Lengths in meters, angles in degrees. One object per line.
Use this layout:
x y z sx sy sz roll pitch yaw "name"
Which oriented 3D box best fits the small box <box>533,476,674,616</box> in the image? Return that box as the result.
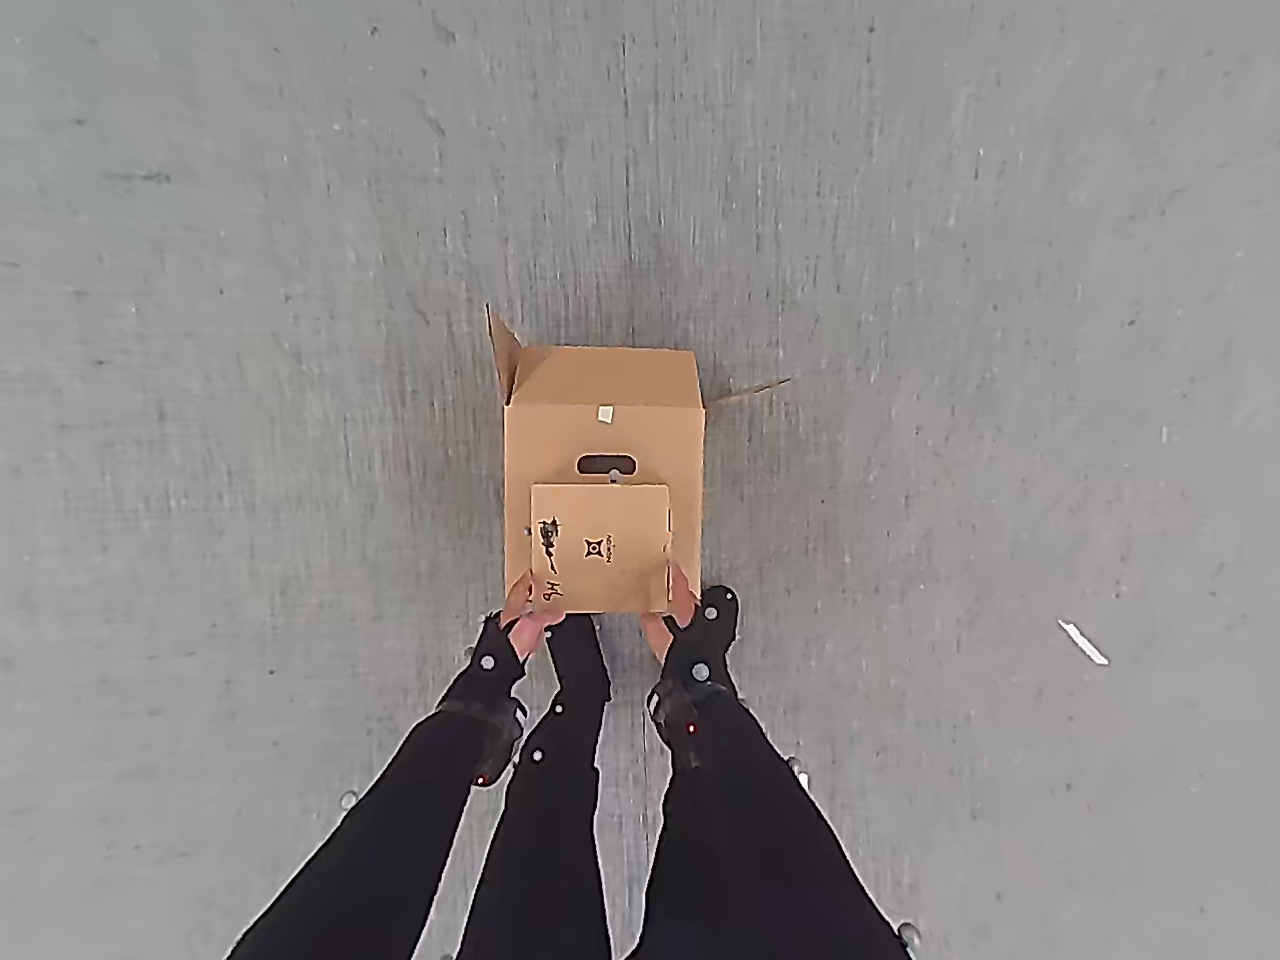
-0.051 0.083 0.754 0.179 0.176 0.168 1 95 -3 "small box"
